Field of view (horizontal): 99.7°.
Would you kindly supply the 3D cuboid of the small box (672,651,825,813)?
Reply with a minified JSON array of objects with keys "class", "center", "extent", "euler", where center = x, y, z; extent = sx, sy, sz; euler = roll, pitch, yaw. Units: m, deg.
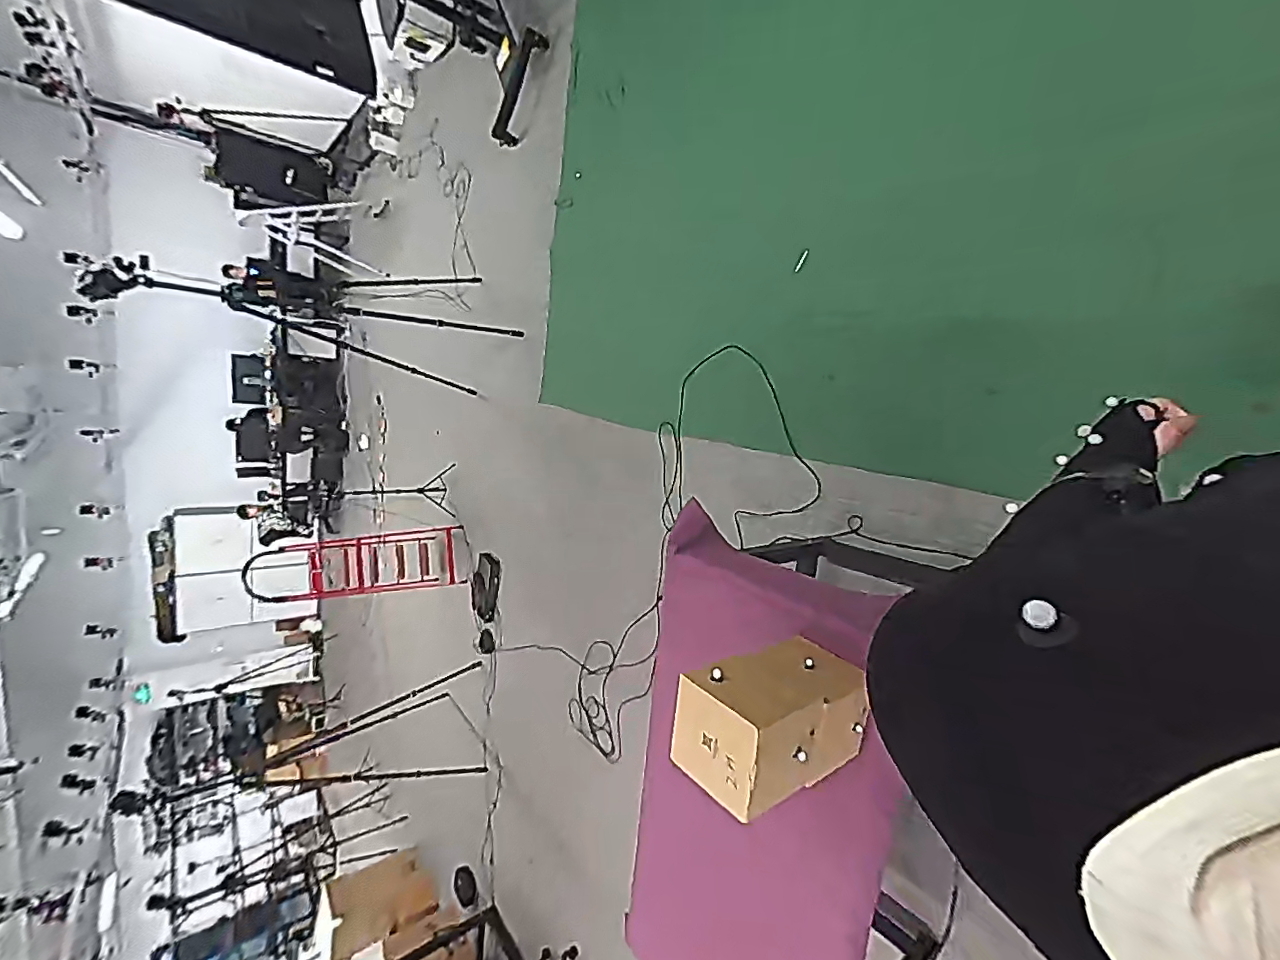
[{"class":"small box","center":[0.181,0.409,0.918],"extent":[0.179,0.176,0.168],"euler":[19,107,49]}]
